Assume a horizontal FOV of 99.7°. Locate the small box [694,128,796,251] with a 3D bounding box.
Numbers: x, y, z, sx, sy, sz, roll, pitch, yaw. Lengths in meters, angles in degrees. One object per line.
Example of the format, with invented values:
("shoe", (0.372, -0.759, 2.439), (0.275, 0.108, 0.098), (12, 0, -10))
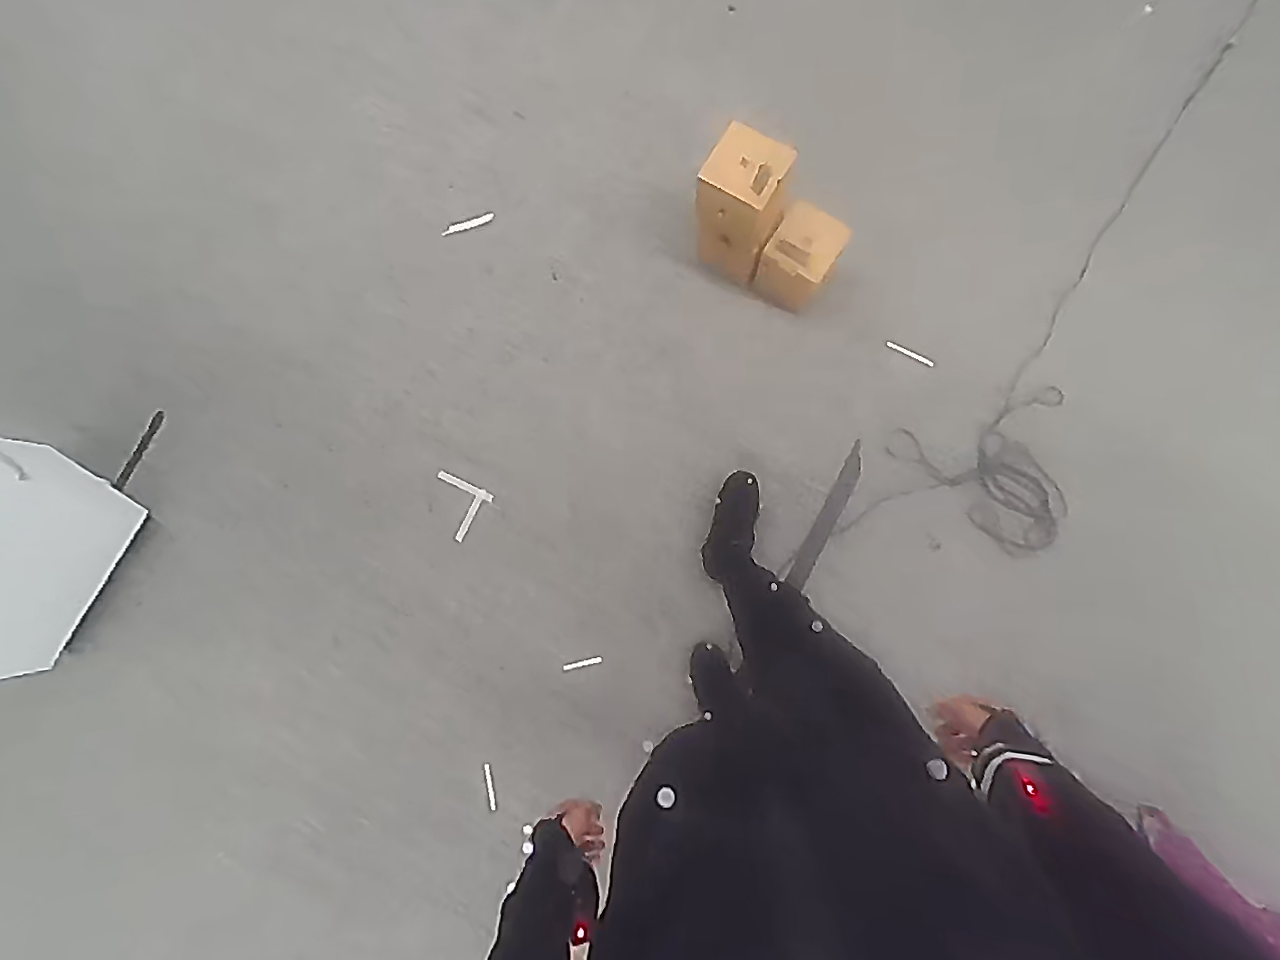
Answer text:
("small box", (0.247, -0.689, 1.306), (0.179, 0.176, 0.168), (32, 85, 9))
